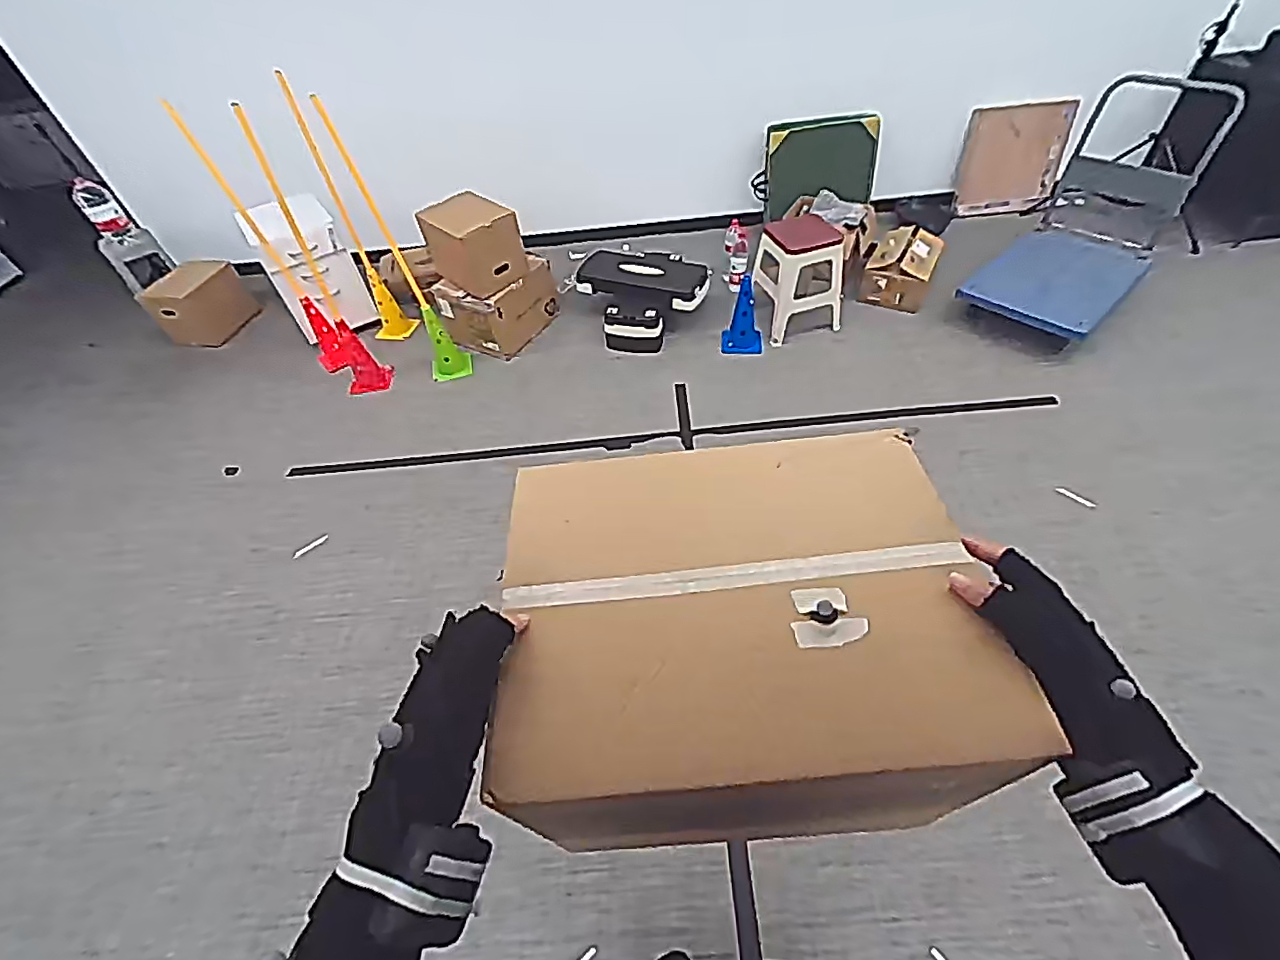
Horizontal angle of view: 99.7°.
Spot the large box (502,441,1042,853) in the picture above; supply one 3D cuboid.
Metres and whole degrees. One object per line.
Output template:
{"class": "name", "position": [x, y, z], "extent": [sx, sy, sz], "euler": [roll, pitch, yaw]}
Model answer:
{"class": "large box", "position": [0.095, 0.191, 0.598], "extent": [0.408, 0.320, 0.320], "euler": [-6, 50, 1]}
